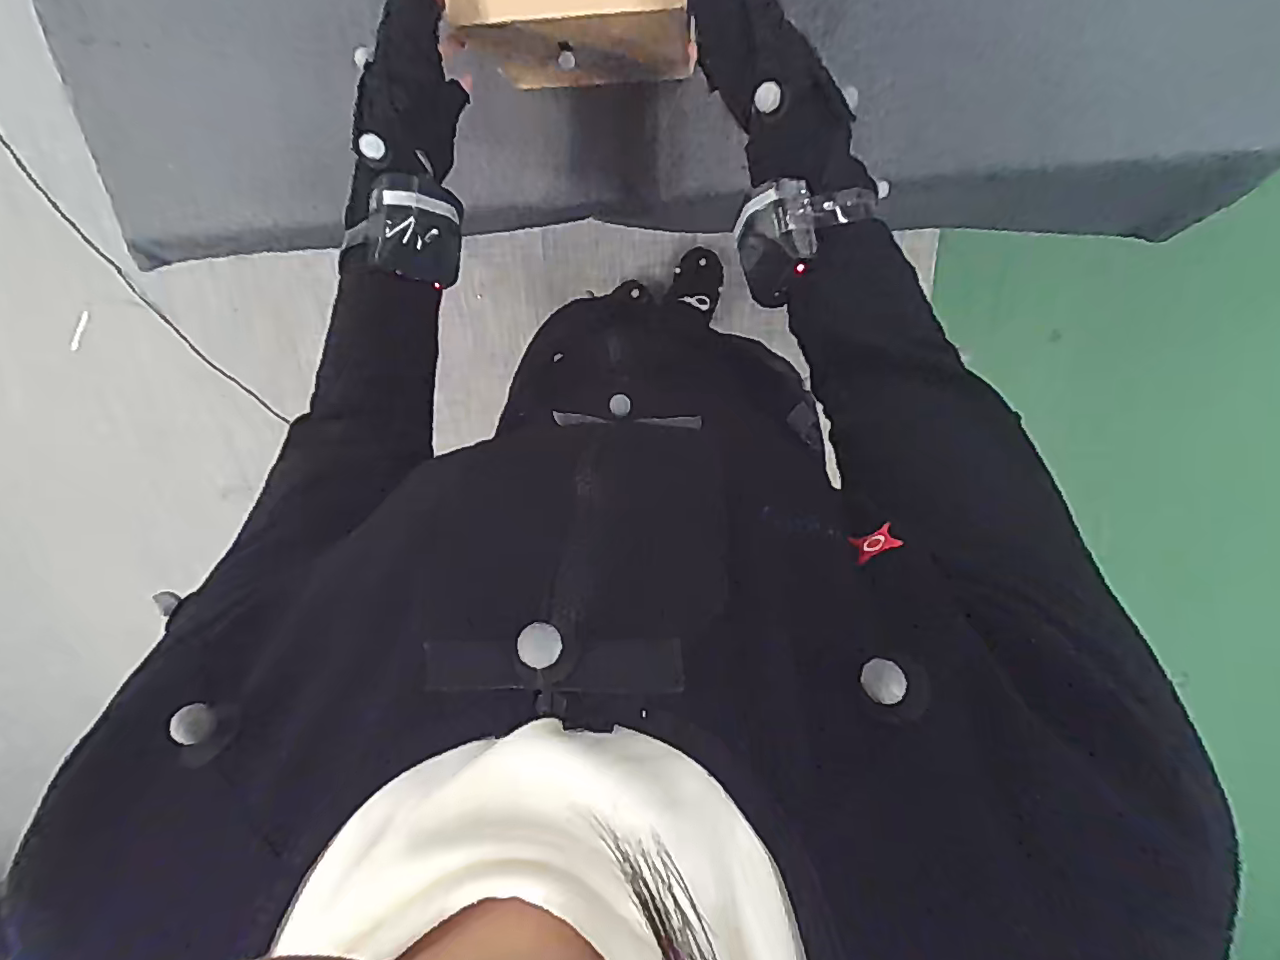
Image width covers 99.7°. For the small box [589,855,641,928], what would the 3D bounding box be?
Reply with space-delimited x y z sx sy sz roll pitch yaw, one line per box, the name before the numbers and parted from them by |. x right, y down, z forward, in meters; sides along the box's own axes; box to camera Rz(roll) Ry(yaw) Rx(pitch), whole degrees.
small box | -0.089 1.545 2.029 0.168 0.176 0.179 -2 114 8

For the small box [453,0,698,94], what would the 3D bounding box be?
small box | -0.045 -0.437 0.434 0.179 0.176 0.168 -2 110 7

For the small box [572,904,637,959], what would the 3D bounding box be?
small box | -0.117 1.601 1.861 0.179 0.176 0.168 -7 113 11
